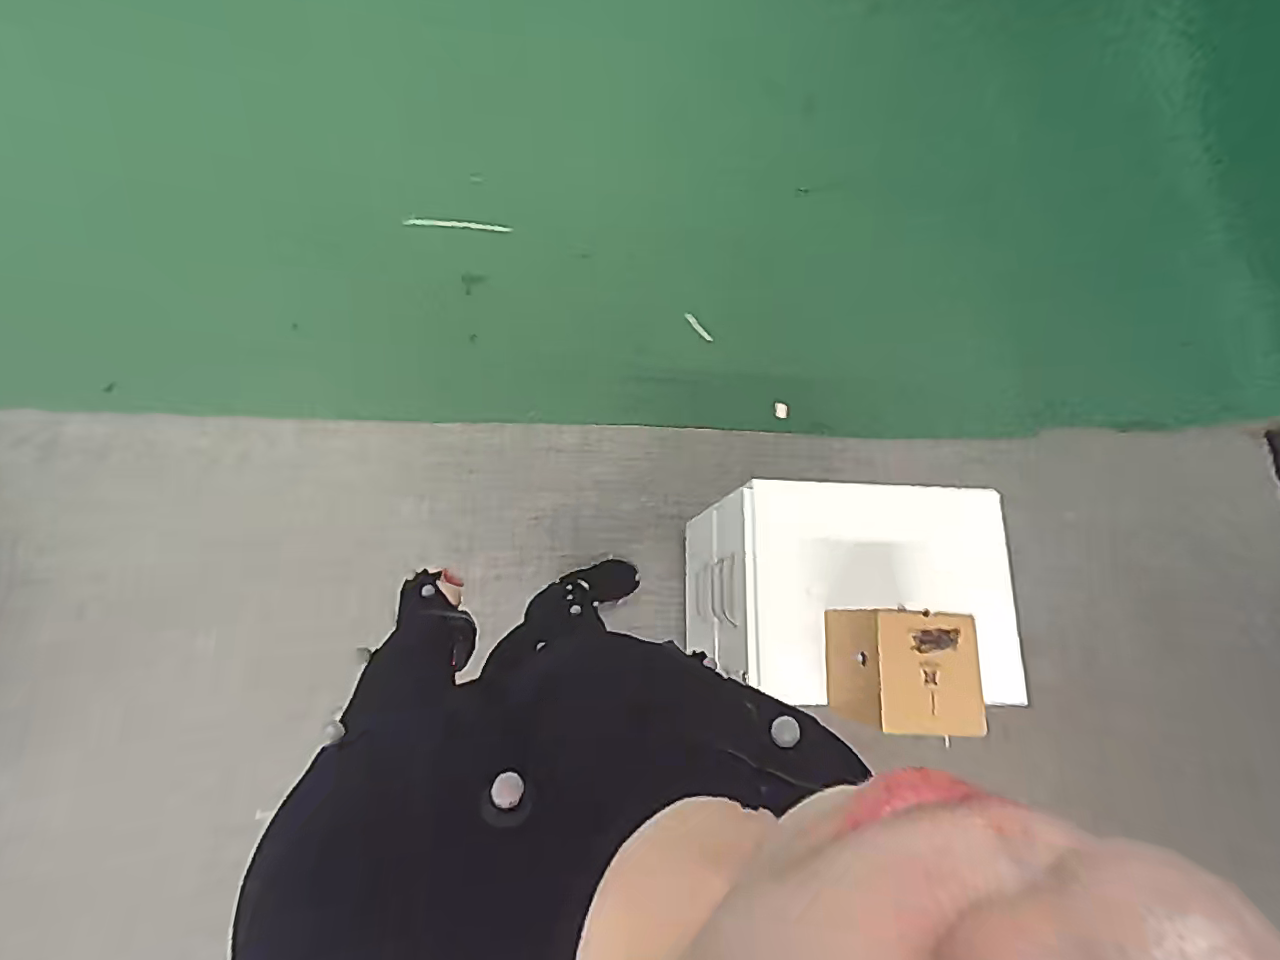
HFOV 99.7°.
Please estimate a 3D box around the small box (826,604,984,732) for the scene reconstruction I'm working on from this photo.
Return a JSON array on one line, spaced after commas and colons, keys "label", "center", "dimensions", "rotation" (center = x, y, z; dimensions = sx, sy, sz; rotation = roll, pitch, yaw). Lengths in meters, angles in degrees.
[{"label": "small box", "center": [0.418, 0.298, 0.880], "dimensions": [0.168, 0.176, 0.179], "rotation": [5, 76, -7]}]
